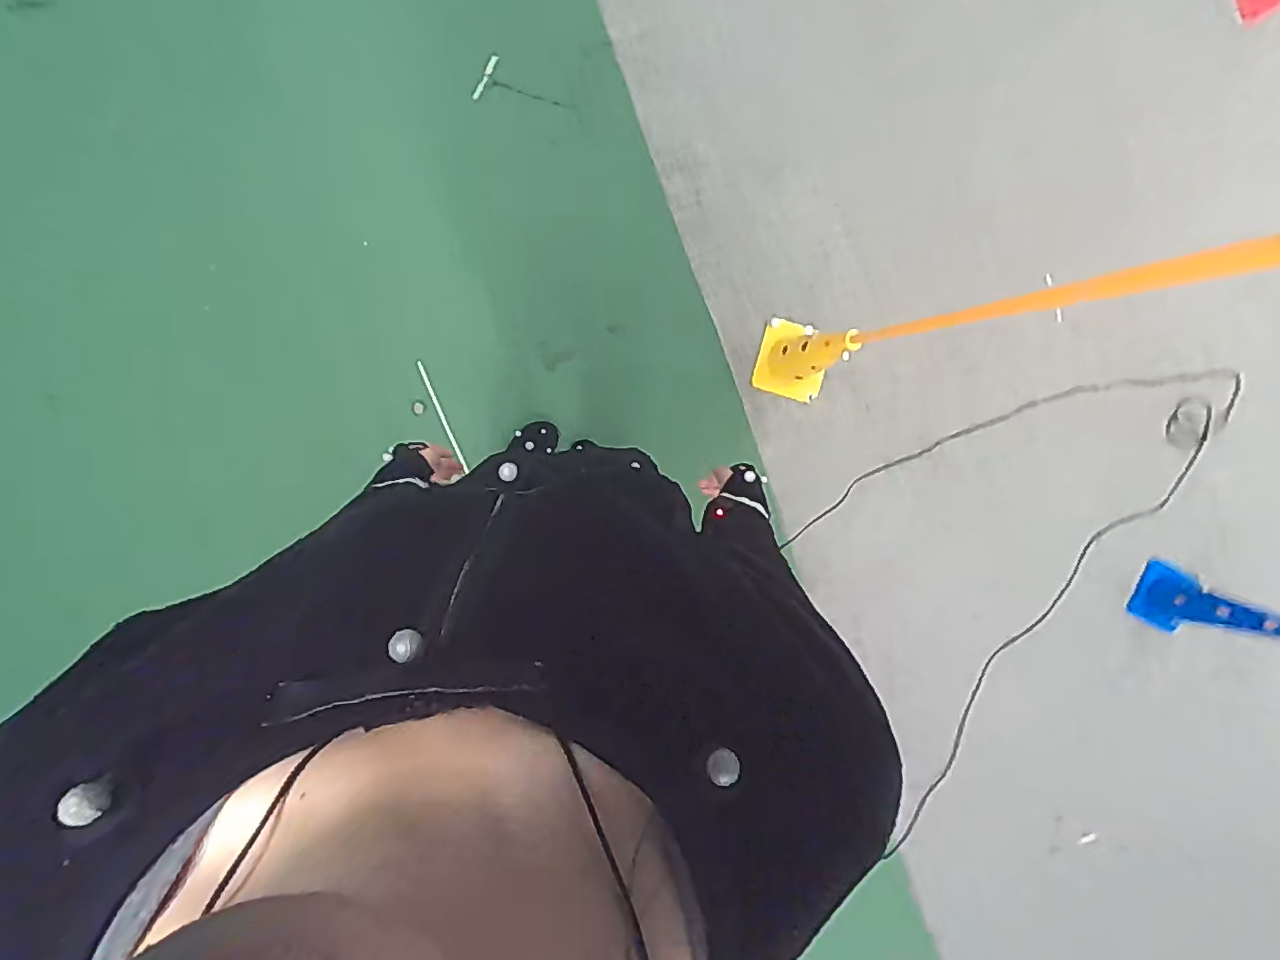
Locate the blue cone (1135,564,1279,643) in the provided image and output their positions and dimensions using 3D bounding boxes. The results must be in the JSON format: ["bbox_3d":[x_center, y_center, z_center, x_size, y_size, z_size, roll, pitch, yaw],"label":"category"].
[{"bbox_3d":[1.693,0.386,1.550,0.193,0.380,0.192,23,91,-10],"label":"blue cone"}]
